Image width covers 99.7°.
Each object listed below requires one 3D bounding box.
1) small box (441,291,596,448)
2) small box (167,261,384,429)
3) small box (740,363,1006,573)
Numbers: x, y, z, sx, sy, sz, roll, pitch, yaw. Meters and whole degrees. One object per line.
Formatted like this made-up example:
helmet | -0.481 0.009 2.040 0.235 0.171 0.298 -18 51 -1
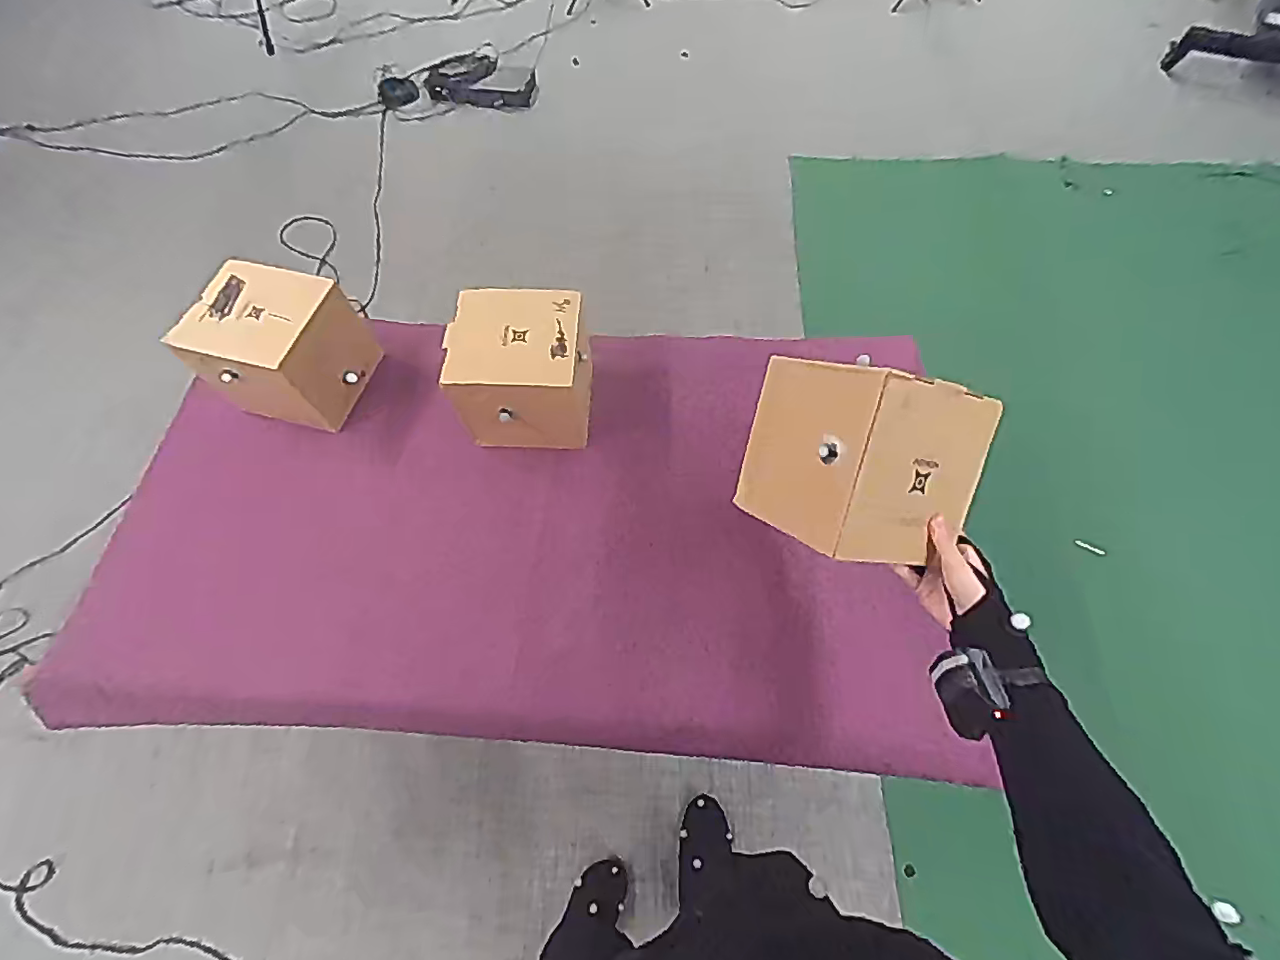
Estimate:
small box | -0.165 -0.156 0.798 0.179 0.176 0.168 1 65 2
small box | -0.532 -0.197 0.820 0.179 0.176 0.168 13 65 6
small box | 0.229 -0.018 0.568 0.168 0.176 0.179 8 103 -27
